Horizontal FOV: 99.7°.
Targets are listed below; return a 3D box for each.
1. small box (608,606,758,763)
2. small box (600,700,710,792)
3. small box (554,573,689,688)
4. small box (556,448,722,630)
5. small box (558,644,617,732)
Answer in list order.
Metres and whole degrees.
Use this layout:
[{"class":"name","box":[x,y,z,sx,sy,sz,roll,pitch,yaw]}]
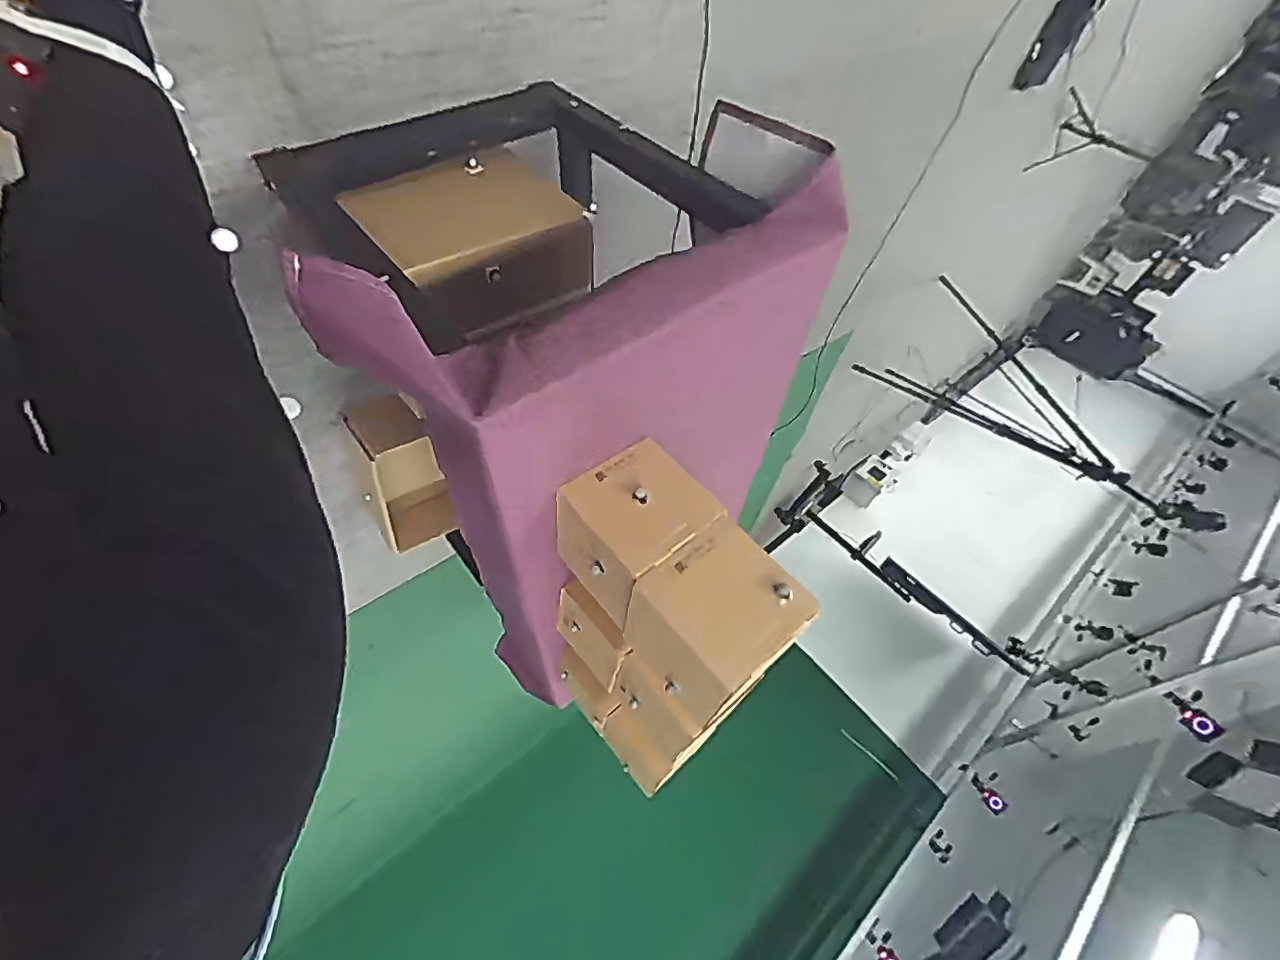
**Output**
[{"class":"small box","box":[0.070,0.356,0.962,0.179,0.176,0.168,-27,150,-32]},{"class":"small box","box":[0.025,0.557,1.212,0.168,0.176,0.179,-31,152,-29]},{"class":"small box","box":[-0.040,0.251,1.025,0.179,0.176,0.168,-28,151,-31]},{"class":"small box","box":[-0.011,0.076,0.785,0.168,0.176,0.179,-30,152,-27]},{"class":"small box","box":[-0.080,0.449,1.274,0.179,0.176,0.168,-32,153,-27]}]
